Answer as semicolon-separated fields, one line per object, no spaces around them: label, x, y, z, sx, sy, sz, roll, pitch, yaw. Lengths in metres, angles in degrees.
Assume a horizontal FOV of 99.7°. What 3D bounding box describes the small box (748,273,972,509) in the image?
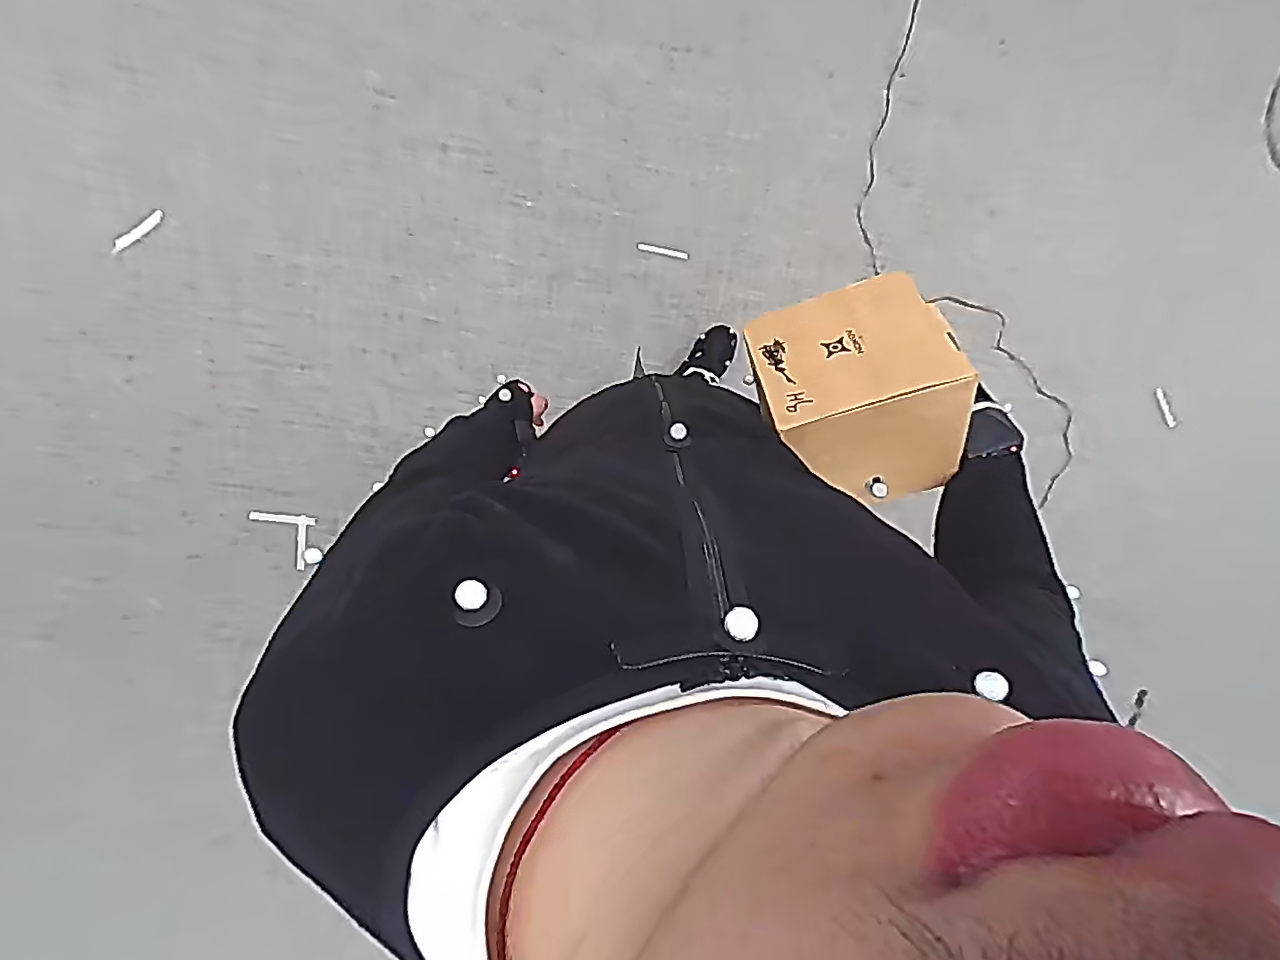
small box;0.233;-0.092;0.607;0.179;0.168;0.176;-16;140;11
